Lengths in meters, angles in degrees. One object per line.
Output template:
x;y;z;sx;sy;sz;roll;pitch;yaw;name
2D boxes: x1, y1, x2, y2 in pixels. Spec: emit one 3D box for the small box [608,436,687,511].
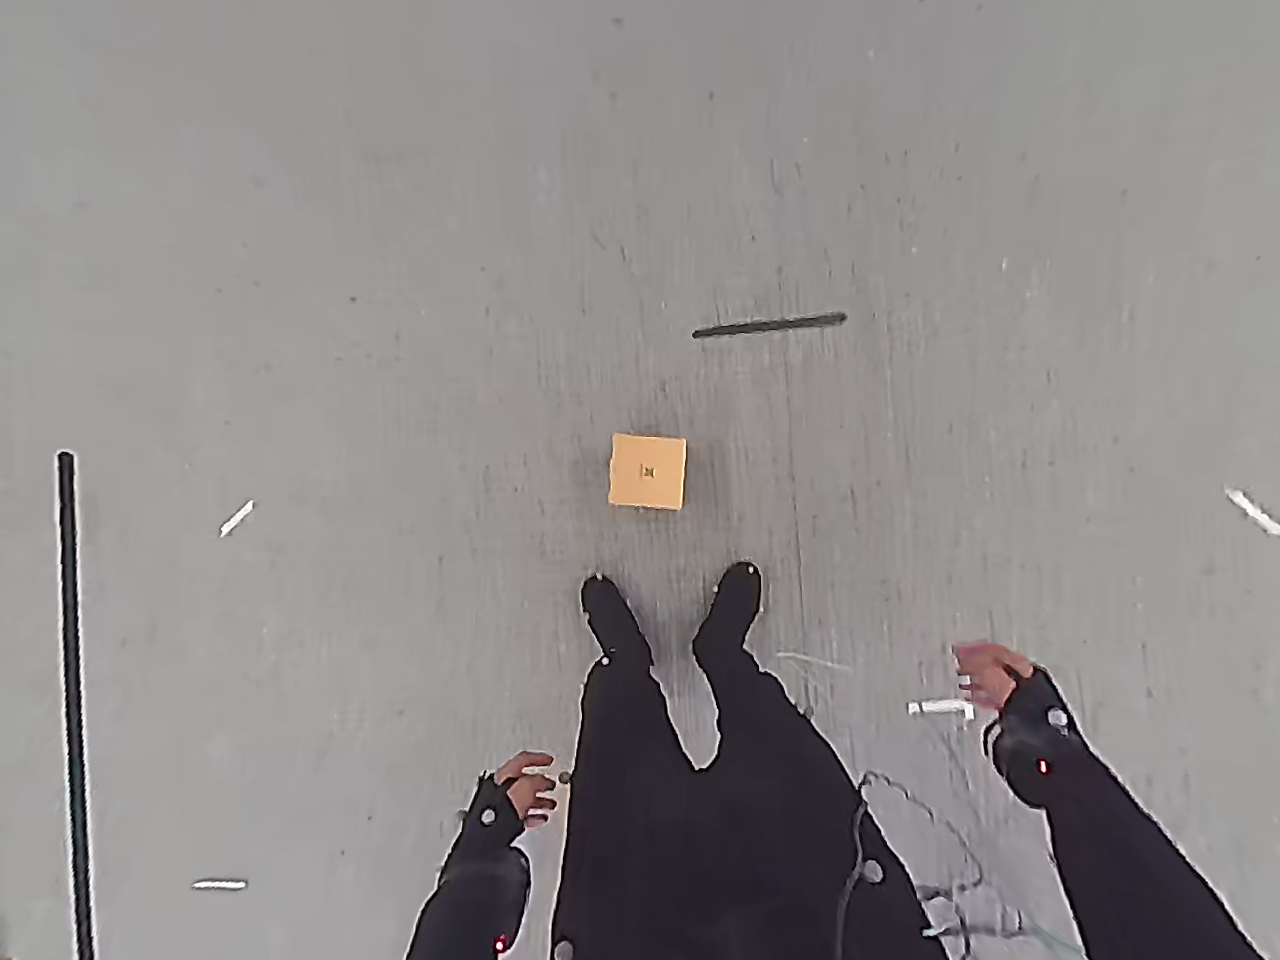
0.025;-0.018;1.337;0.179;0.176;0.168;4;90;6;small box
